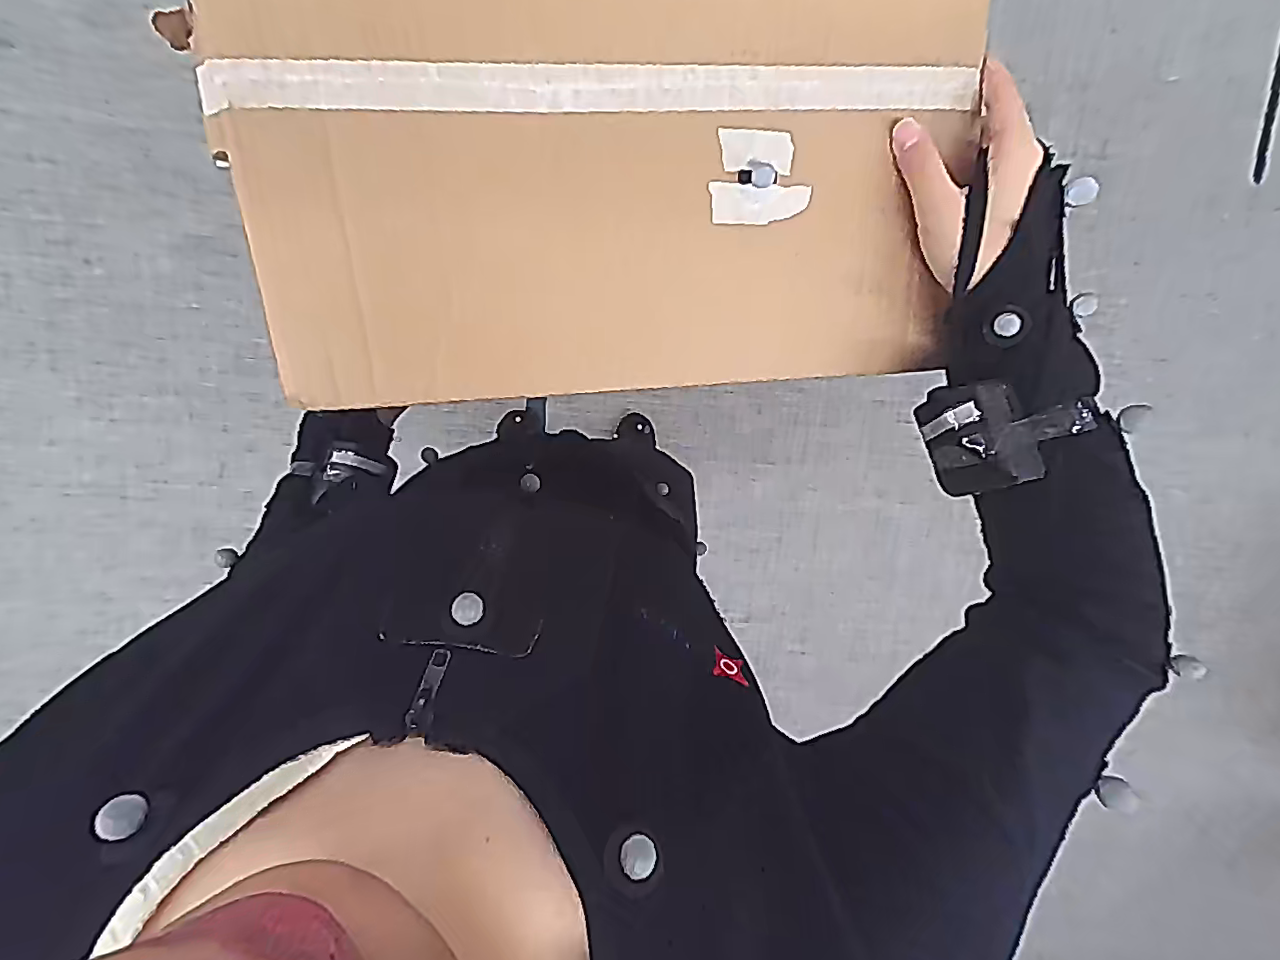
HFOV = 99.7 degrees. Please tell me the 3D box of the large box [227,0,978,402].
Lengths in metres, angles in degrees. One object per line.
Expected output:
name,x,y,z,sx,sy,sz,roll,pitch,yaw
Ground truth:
large box,-0.027,-0.247,0.437,0.408,0.320,0.320,-5,106,-9
